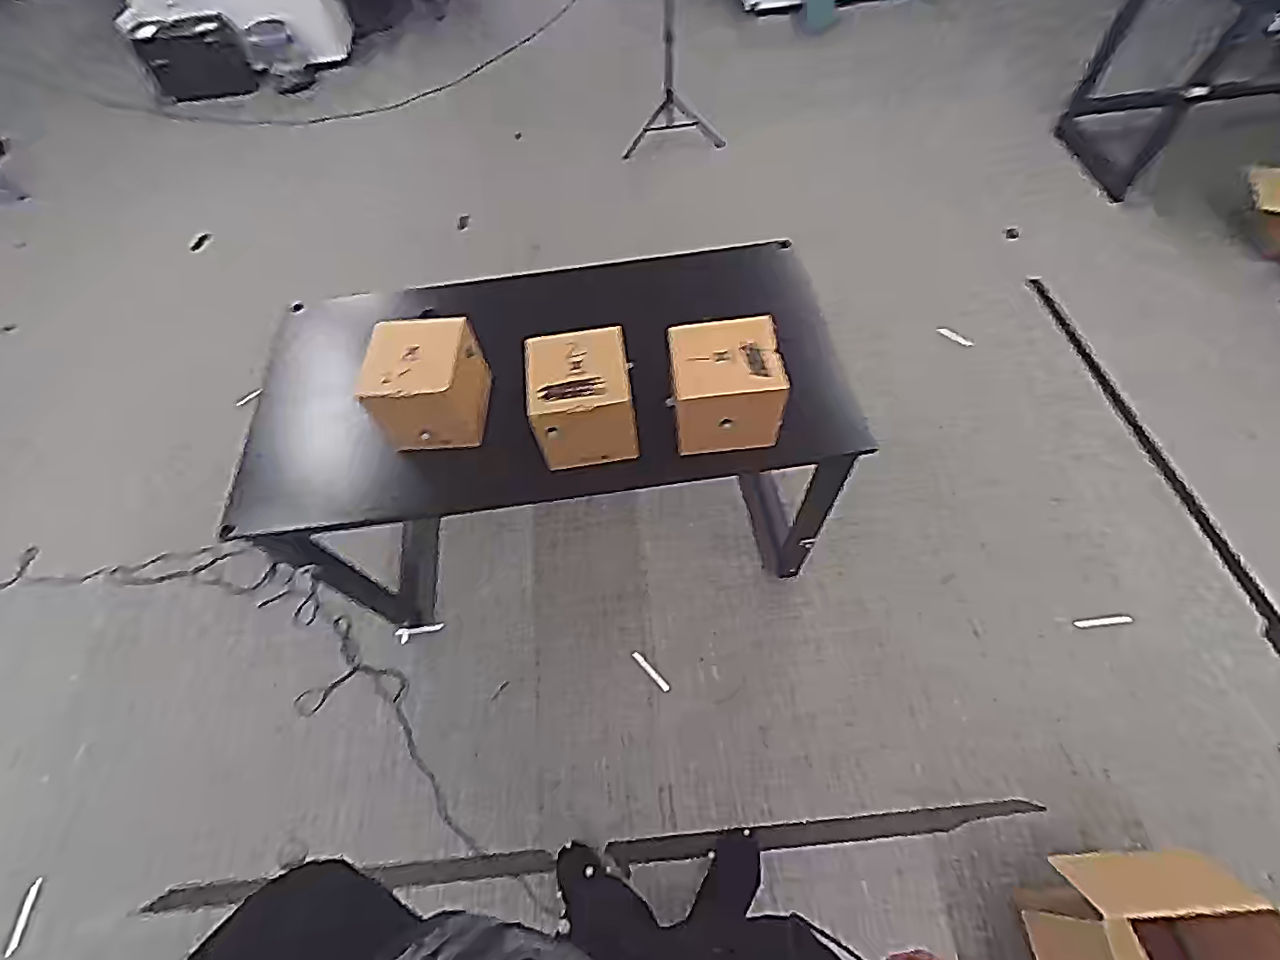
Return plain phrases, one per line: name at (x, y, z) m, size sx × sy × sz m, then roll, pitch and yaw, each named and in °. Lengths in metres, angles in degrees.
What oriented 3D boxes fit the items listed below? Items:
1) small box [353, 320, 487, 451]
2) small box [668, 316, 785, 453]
small box at (-0.396, -0.173, 1.012) m, size 0.168 × 0.176 × 0.179 m, roll -3°, pitch 60°, yaw 3°
small box at (0.145, -0.164, 0.964) m, size 0.179 × 0.176 × 0.168 m, roll -6°, pitch 59°, yaw 2°
